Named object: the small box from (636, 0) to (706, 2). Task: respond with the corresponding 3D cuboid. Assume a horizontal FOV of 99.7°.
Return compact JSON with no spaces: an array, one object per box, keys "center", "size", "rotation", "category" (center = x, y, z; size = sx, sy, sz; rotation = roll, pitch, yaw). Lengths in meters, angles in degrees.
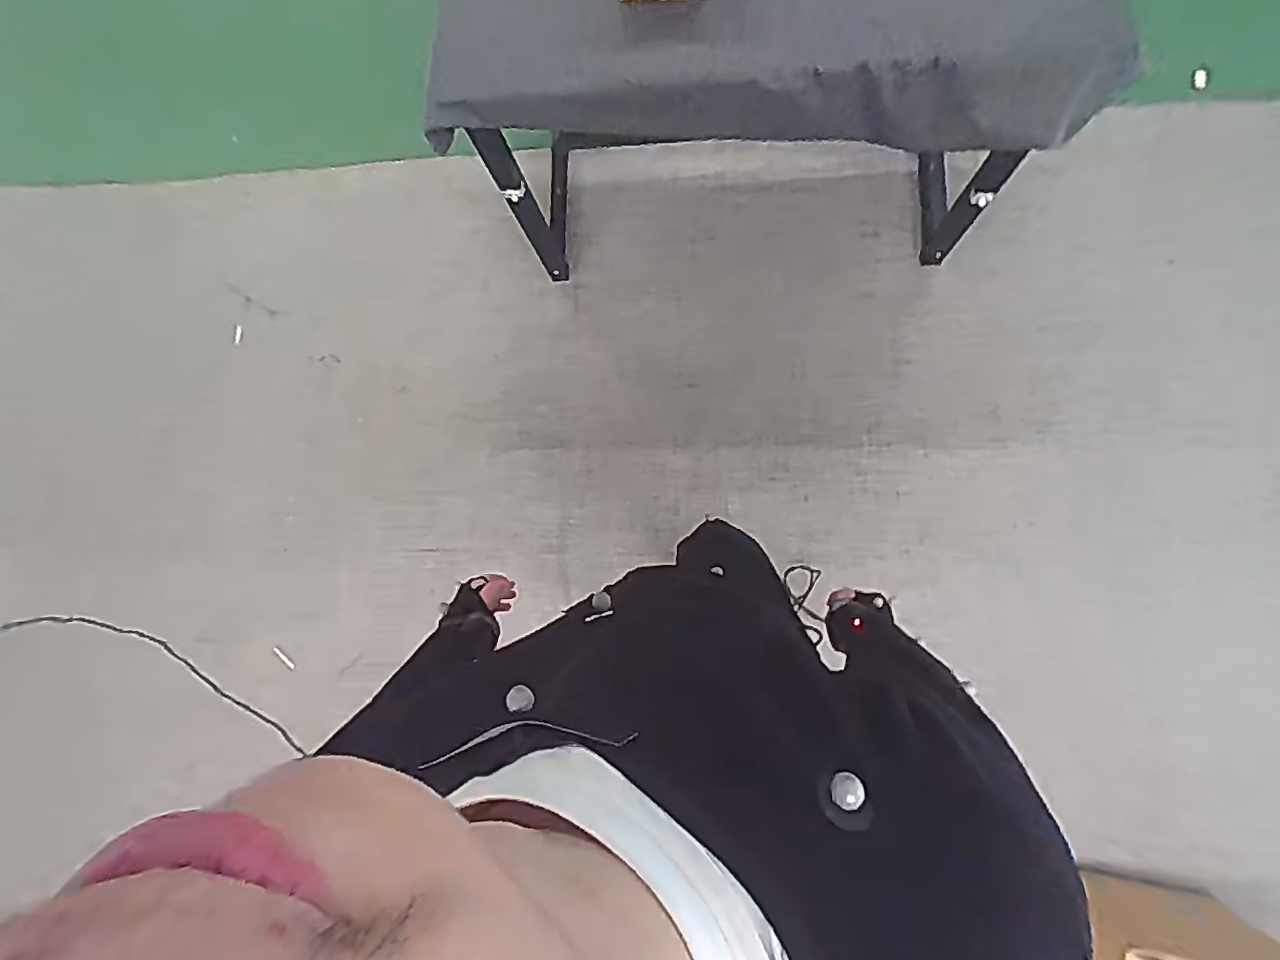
[{"center":[0.051,-0.969,0.928],"size":[0.168,0.176,0.179],"rotation":[4,82,9],"category":"small box"}]
